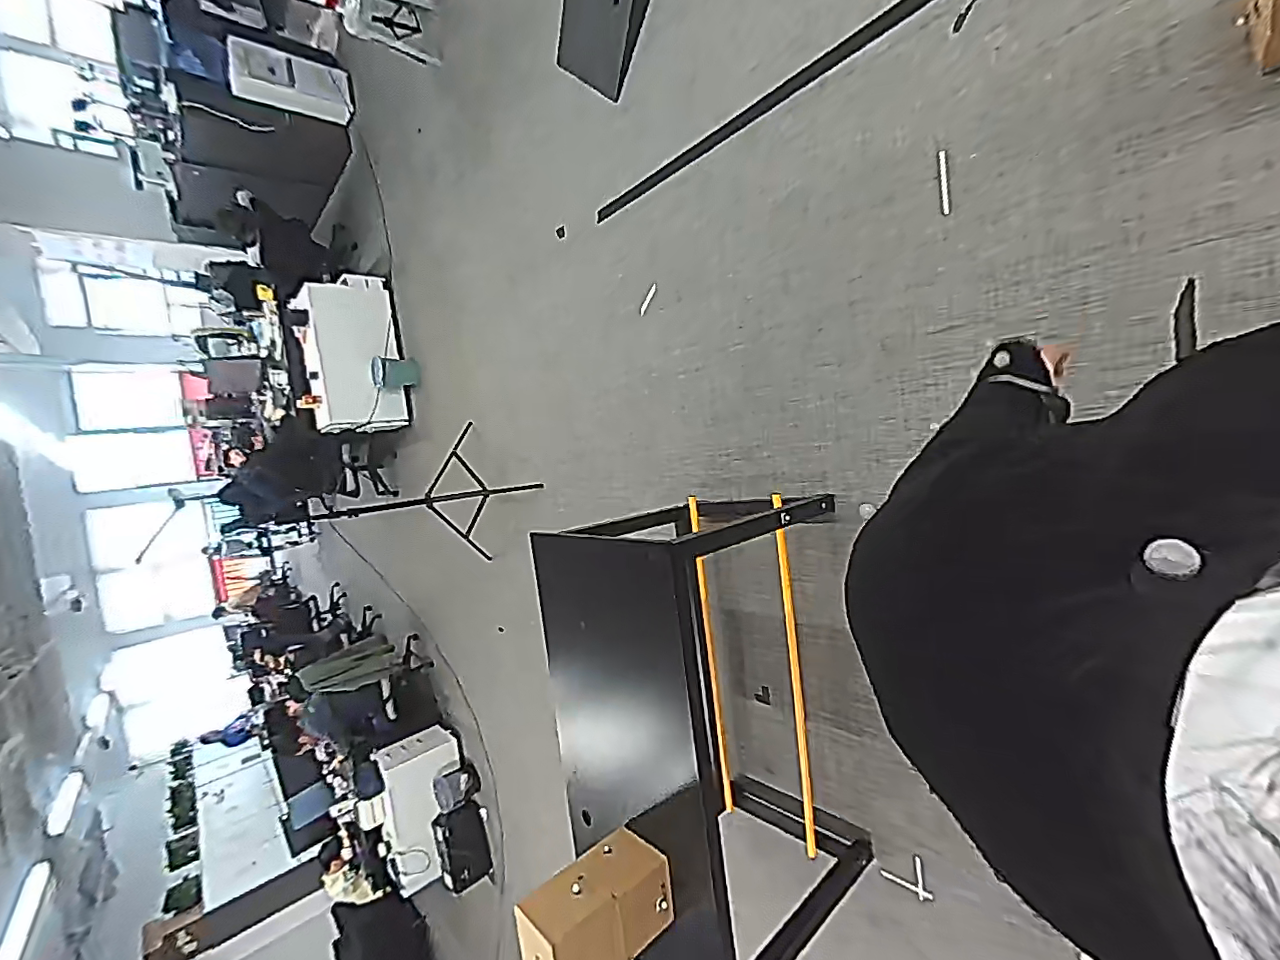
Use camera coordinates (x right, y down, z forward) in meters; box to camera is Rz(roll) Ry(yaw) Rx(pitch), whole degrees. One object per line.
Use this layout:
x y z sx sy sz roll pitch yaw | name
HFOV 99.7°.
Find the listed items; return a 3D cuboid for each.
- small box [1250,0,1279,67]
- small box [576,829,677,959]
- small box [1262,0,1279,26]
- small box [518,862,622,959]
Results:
1.065 -0.786 0.818 0.179 0.176 0.168 -12 89 49 | small box
-0.033 1.013 1.341 0.179 0.176 0.168 -3 96 49 | small box
0.943 -0.755 0.713 0.168 0.176 0.179 -14 88 49 | small box
-0.156 1.036 1.234 0.168 0.176 0.179 -5 94 50 | small box
